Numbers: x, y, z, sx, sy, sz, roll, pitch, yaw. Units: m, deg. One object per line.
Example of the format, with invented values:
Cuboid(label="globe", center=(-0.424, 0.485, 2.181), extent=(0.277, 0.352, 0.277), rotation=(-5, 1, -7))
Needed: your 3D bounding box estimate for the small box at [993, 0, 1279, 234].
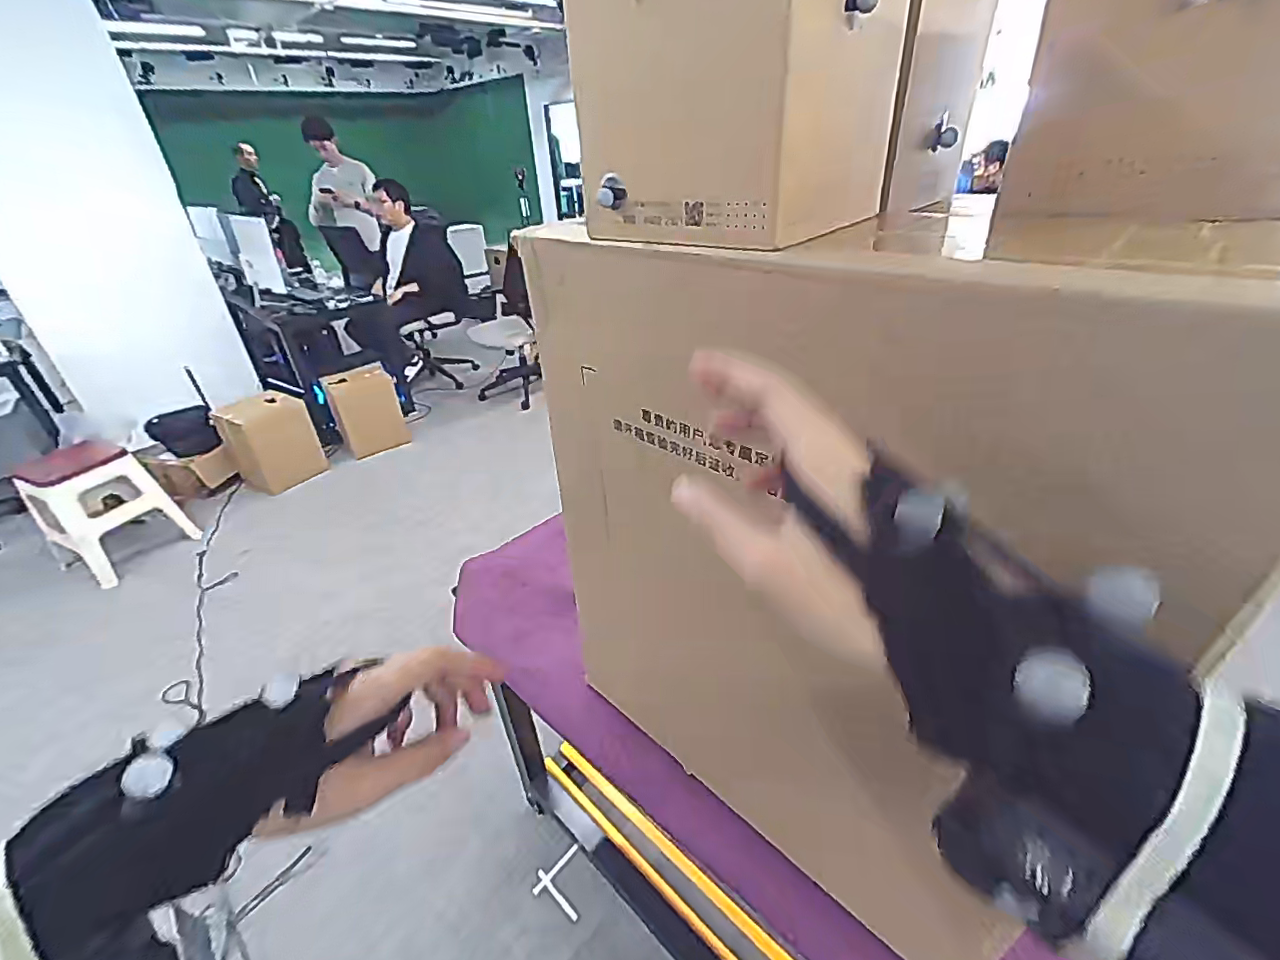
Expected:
Cuboid(label="small box", center=(0.378, -0.273, 0.373), extent=(0.179, 0.176, 0.168), rotation=(19, 38, 36))
